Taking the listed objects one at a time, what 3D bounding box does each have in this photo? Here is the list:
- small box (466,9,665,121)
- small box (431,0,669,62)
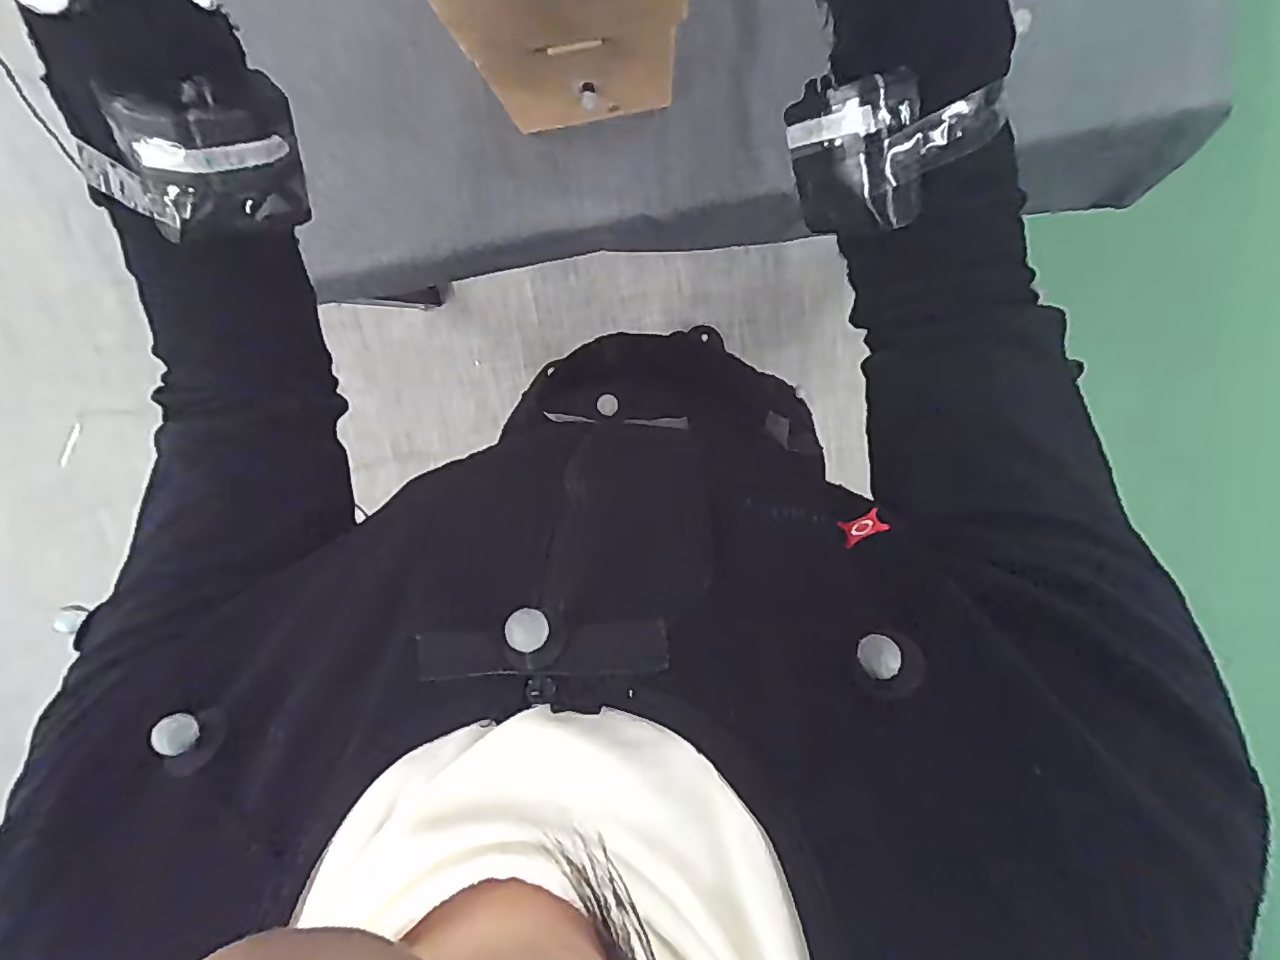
[{"bbox_3d":[-0.068,-0.451,0.485,0.168,0.176,0.179,-8,106,4],"label":"small box"},{"bbox_3d":[-0.066,-0.399,0.328,0.179,0.176,0.168,-11,105,4],"label":"small box"}]
